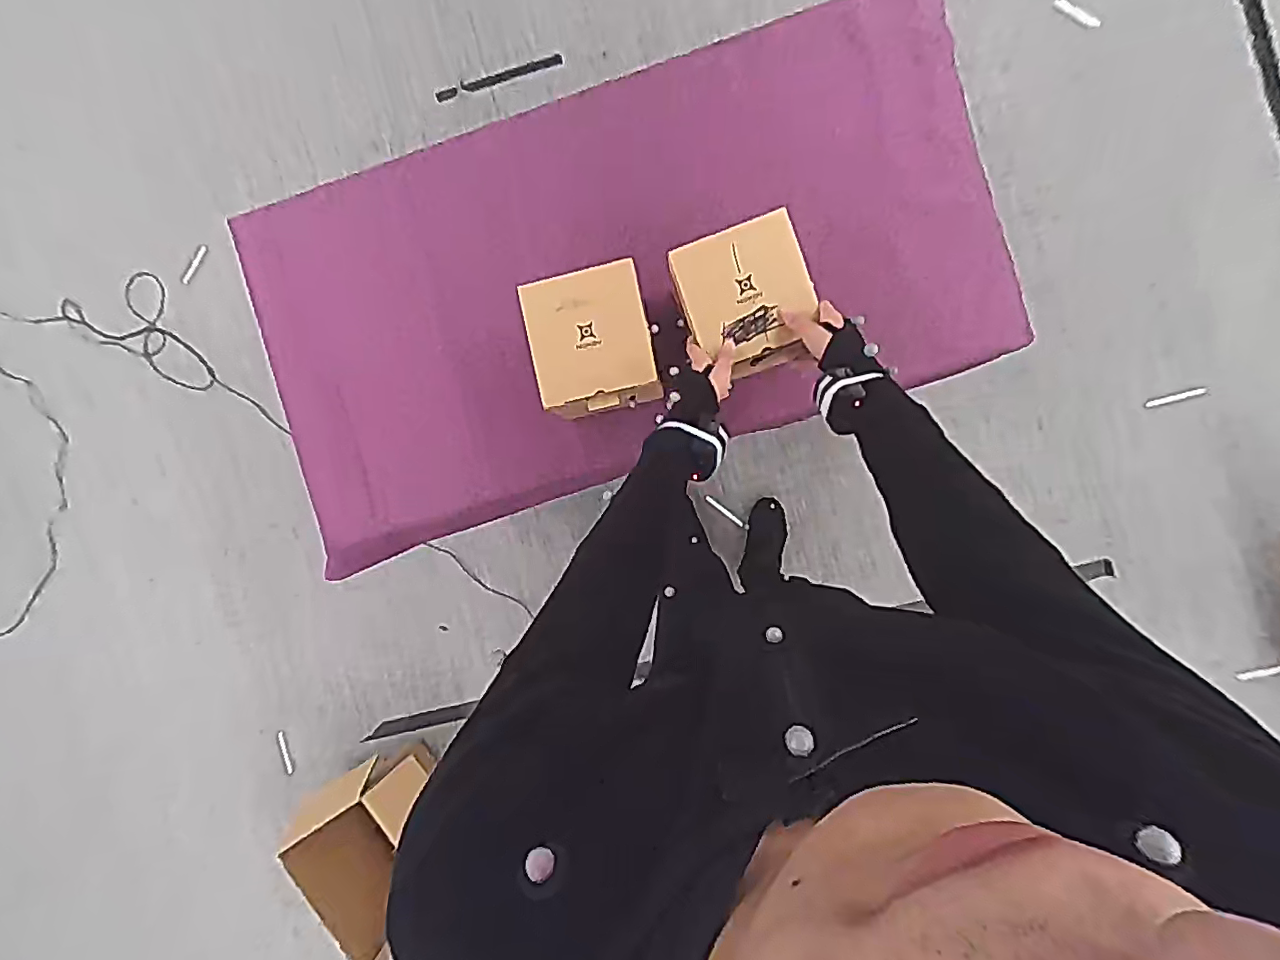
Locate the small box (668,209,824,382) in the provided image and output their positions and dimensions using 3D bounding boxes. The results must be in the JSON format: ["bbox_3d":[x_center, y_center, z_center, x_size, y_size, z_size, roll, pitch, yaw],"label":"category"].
[{"bbox_3d":[0.149,-0.252,0.793,0.168,0.176,0.179,-19,89,6],"label":"small box"}]

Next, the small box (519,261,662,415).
[{"bbox_3d":[-0.064,-0.199,0.817,0.168,0.176,0.179,-12,90,5],"label":"small box"}]
